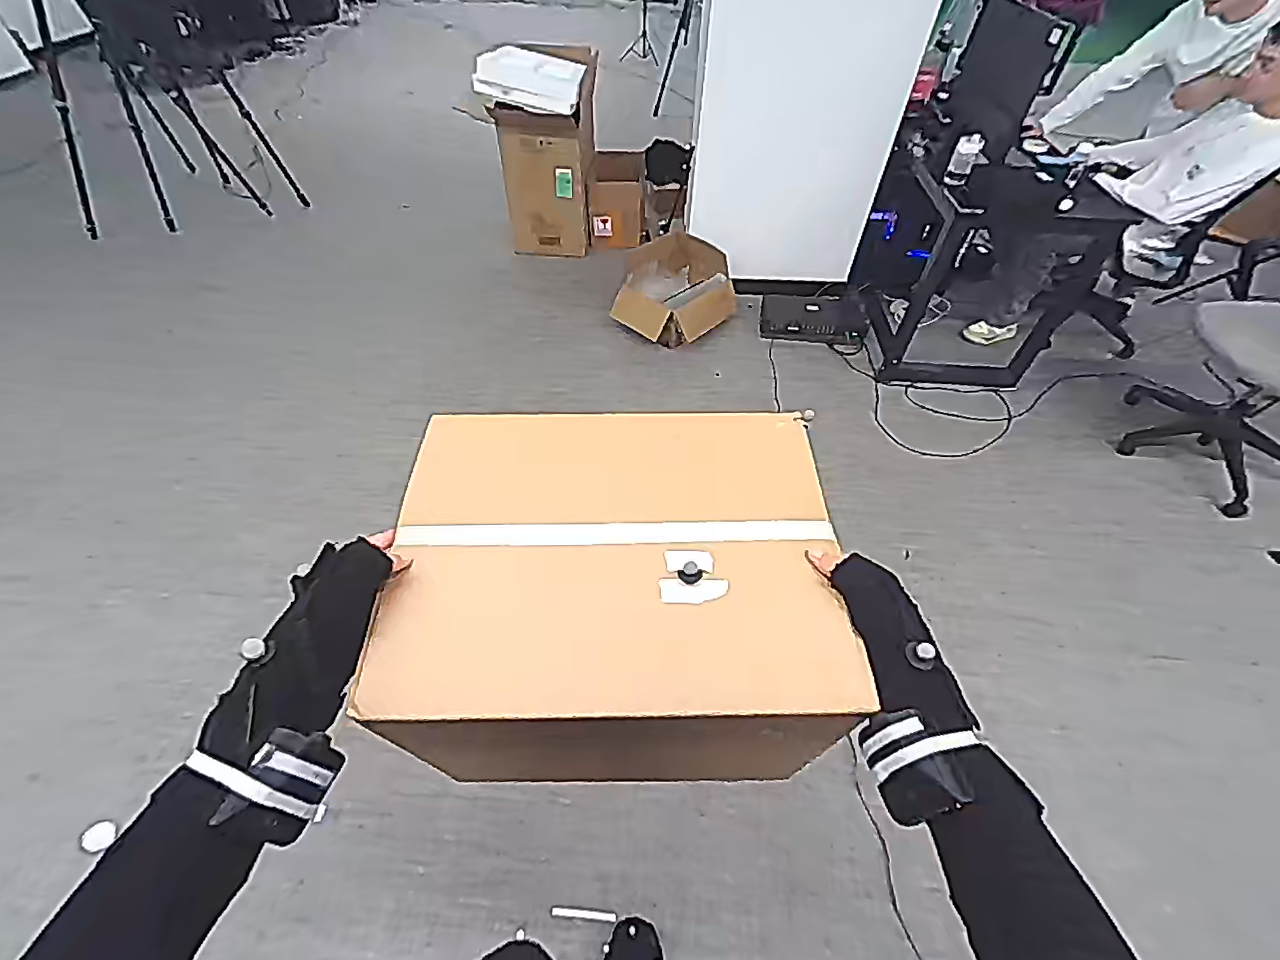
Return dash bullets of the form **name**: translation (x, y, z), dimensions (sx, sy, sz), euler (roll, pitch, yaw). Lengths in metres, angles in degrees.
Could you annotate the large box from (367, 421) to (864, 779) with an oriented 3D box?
- **large box**: translation (-0.023, 0.146, 0.632), dimensions (0.408, 0.320, 0.320), euler (0, 53, -1)
